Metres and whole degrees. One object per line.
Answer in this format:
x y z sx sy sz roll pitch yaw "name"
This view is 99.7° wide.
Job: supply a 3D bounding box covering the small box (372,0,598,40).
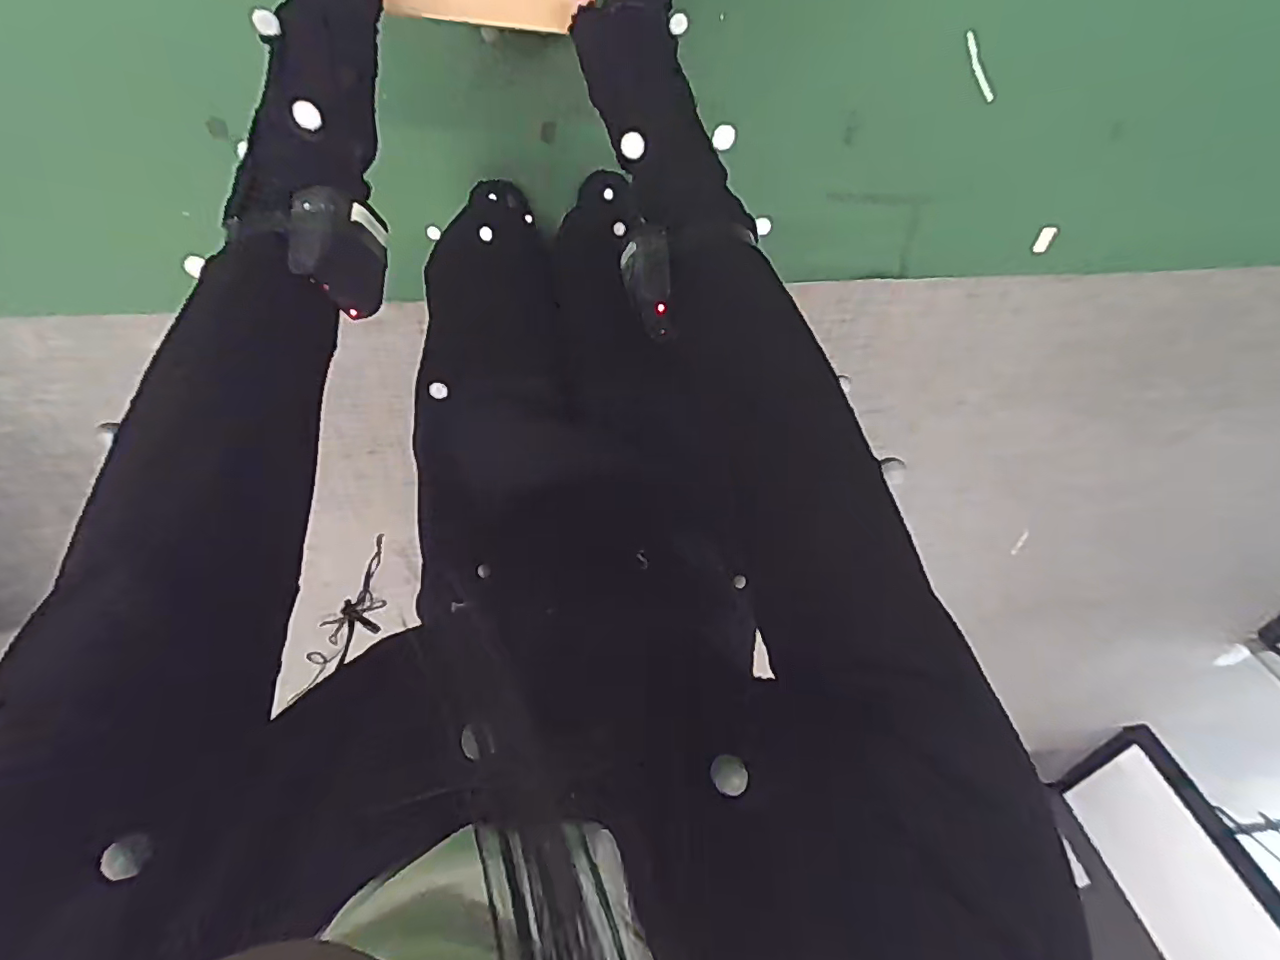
-0.115 -0.457 0.405 0.168 0.176 0.179 0 133 -9 "small box"
